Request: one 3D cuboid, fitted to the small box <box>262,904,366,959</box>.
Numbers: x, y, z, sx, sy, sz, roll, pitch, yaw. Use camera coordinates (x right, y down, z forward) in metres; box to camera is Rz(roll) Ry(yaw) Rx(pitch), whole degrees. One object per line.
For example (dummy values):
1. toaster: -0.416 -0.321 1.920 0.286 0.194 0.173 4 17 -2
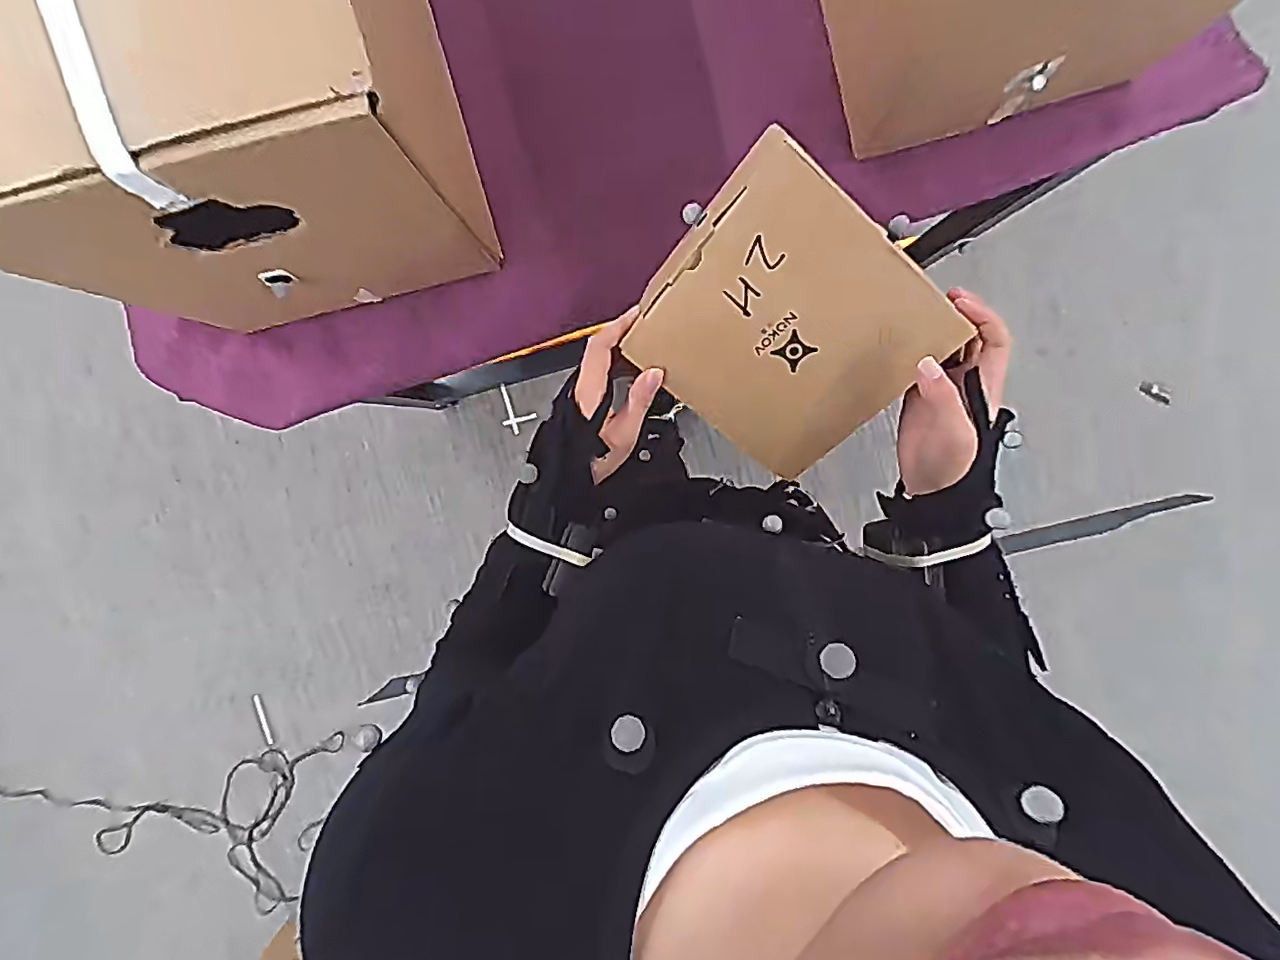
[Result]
1. small box: -0.862 1.269 1.412 0.179 0.176 0.168 -19 96 2
